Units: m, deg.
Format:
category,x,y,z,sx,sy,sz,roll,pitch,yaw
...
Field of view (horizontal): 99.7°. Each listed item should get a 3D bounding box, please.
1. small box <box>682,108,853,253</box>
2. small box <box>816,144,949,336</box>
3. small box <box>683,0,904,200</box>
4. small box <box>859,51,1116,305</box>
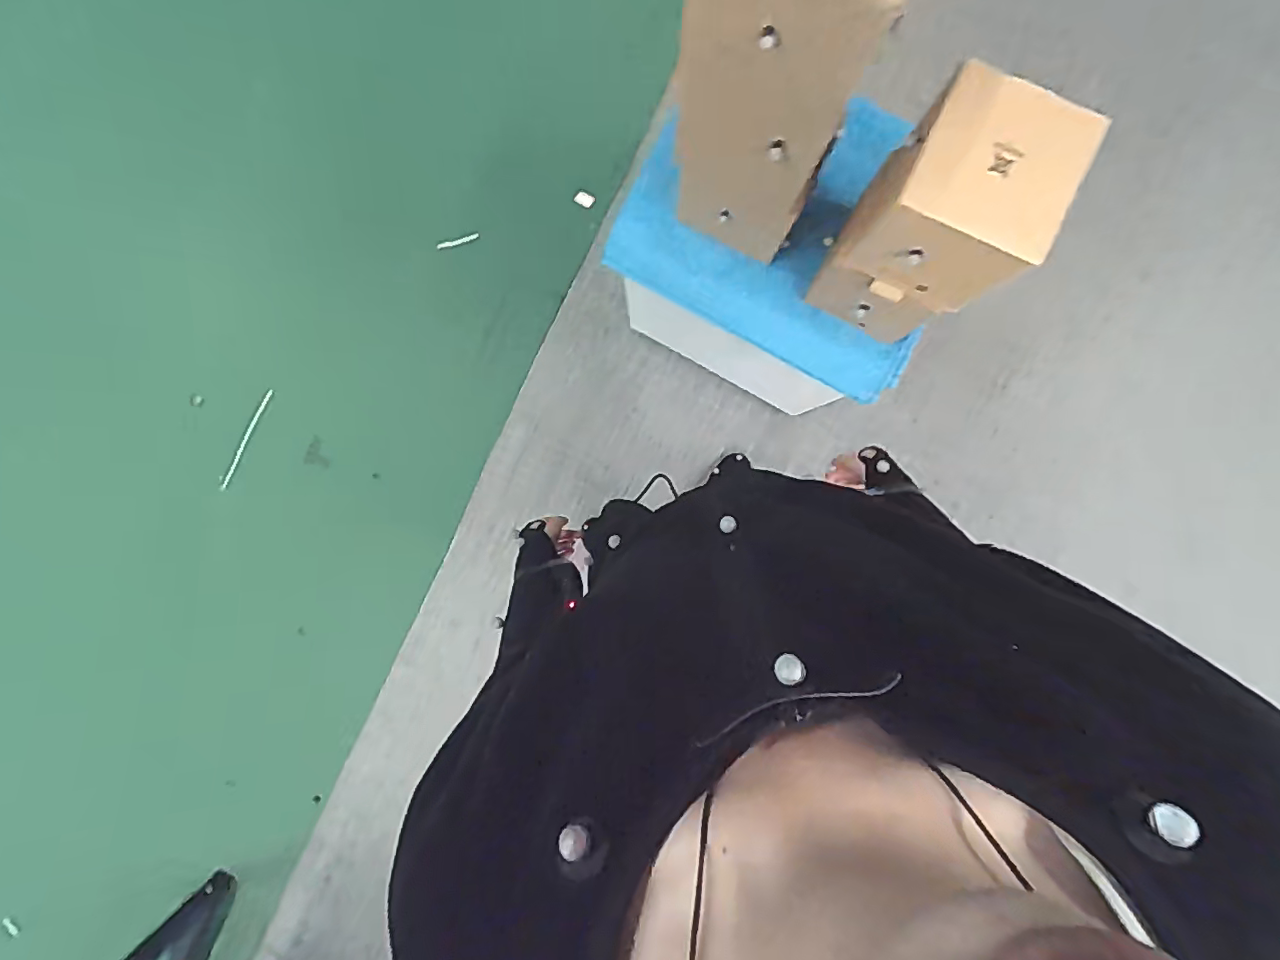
category,x,y,z,sx,sy,sz,roll,pitch,yaw
small box,0.176,-0.468,0.808,0.179,0.176,0.168,27,90,1
small box,0.384,-0.340,0.806,0.168,0.176,0.179,28,91,1
small box,0.165,-0.470,0.644,0.179,0.176,0.168,27,90,1
small box,0.388,-0.337,0.643,0.168,0.176,0.179,25,89,1
